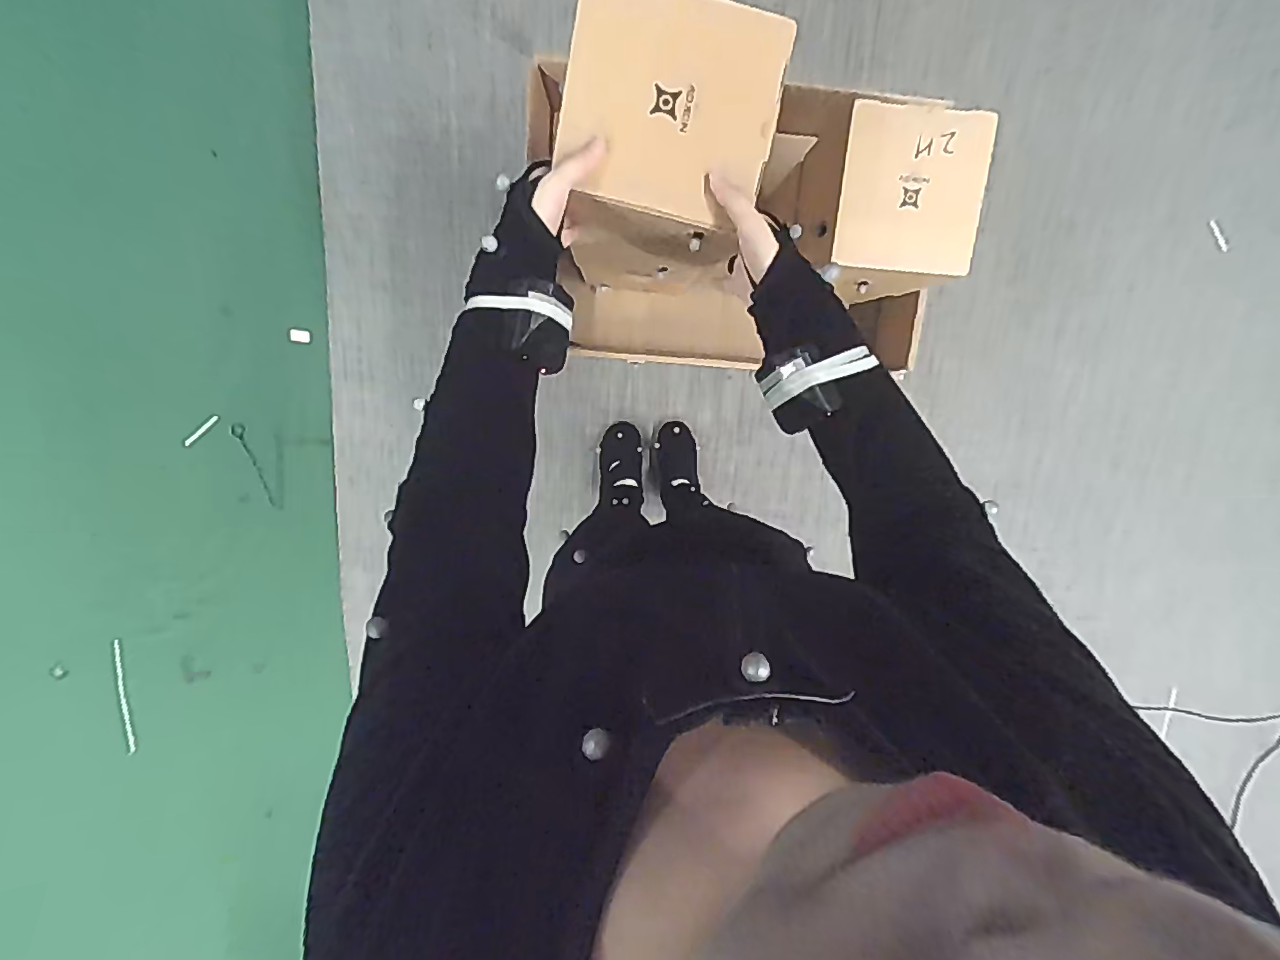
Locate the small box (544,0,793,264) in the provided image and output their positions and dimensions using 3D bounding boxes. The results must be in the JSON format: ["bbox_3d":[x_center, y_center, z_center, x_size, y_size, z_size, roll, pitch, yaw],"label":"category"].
[{"bbox_3d":[0.017,-0.319,0.517,0.179,0.176,0.168,11,101,-6],"label":"small box"}]

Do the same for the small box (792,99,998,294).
[{"bbox_3d":[0.303,-0.340,0.685,0.168,0.176,0.179,5,101,-2],"label":"small box"}]

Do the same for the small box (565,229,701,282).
[{"bbox_3d":[0.007,-0.360,0.678,0.168,0.176,0.179,9,100,-4],"label":"small box"}]
